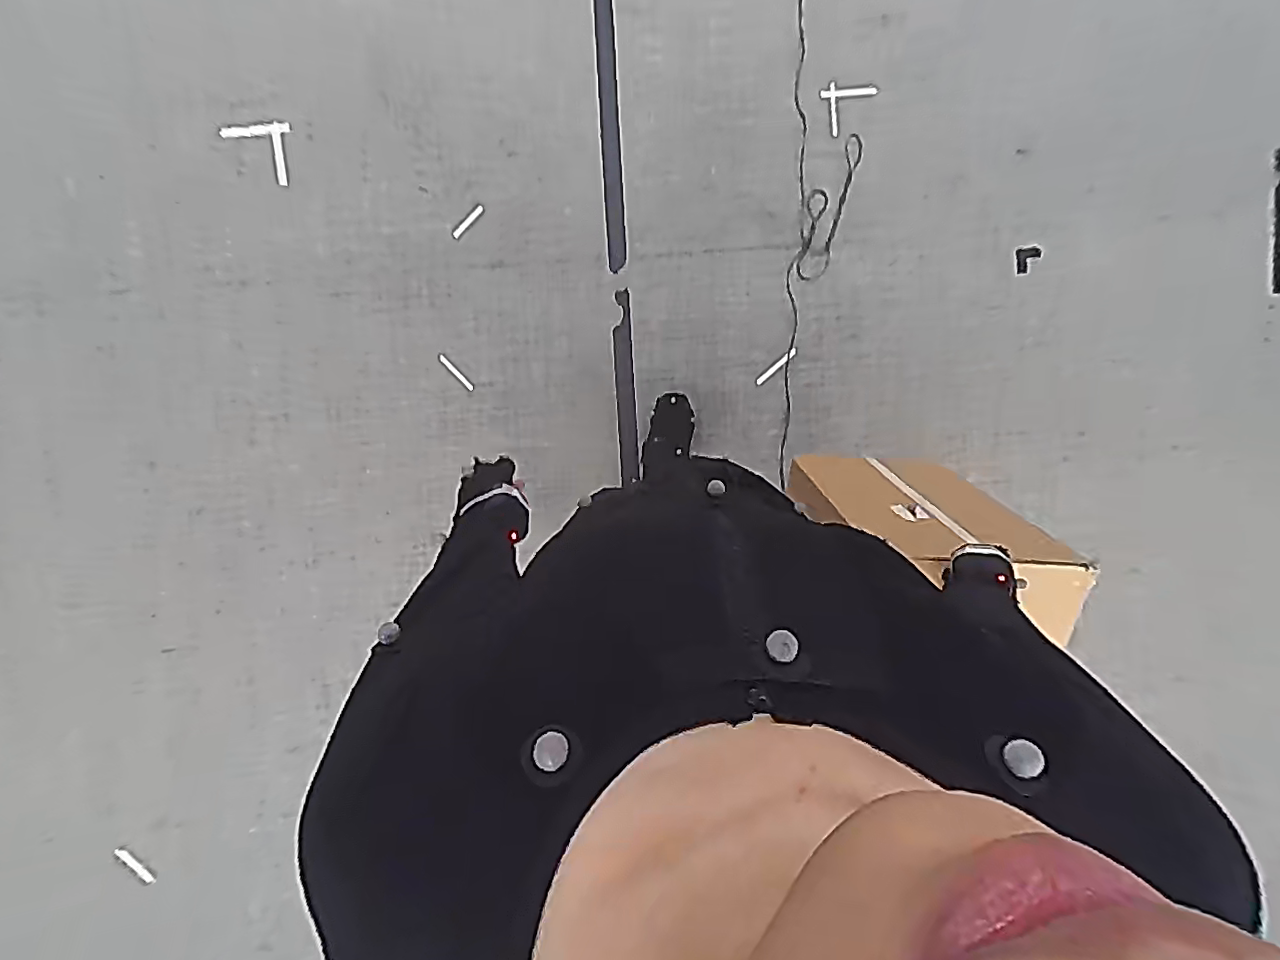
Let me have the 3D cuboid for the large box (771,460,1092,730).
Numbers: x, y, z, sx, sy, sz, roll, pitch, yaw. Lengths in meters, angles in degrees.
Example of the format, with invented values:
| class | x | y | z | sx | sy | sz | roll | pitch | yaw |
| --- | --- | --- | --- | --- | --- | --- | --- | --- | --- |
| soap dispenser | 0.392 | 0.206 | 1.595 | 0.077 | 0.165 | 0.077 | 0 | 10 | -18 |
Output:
| class | x | y | z | sx | sy | sz | roll | pitch | yaw |
| --- | --- | --- | --- | --- | --- | --- | --- | --- | --- |
| large box | 0.462 | 0.181 | 0.982 | 0.320 | 0.408 | 0.320 | 2 | 112 | -3 |
